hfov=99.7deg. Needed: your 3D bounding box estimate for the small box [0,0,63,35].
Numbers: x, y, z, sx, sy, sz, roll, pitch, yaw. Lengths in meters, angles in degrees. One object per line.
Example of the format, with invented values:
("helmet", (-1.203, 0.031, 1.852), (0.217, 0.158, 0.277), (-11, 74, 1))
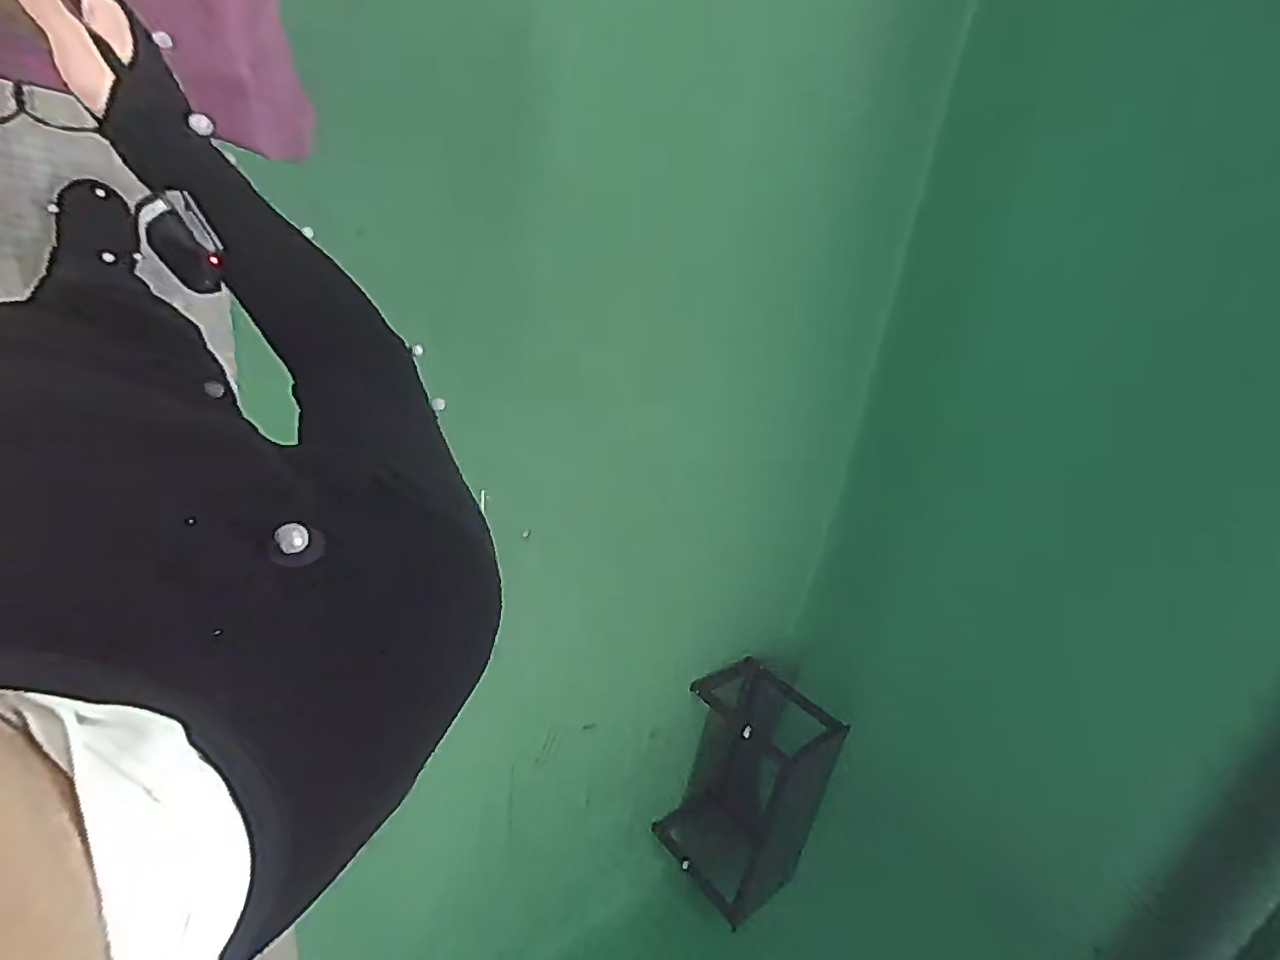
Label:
("small box", (-0.538, -0.462, 0.378), (0.168, 0.176, 0.179), (-9, 116, -42))
